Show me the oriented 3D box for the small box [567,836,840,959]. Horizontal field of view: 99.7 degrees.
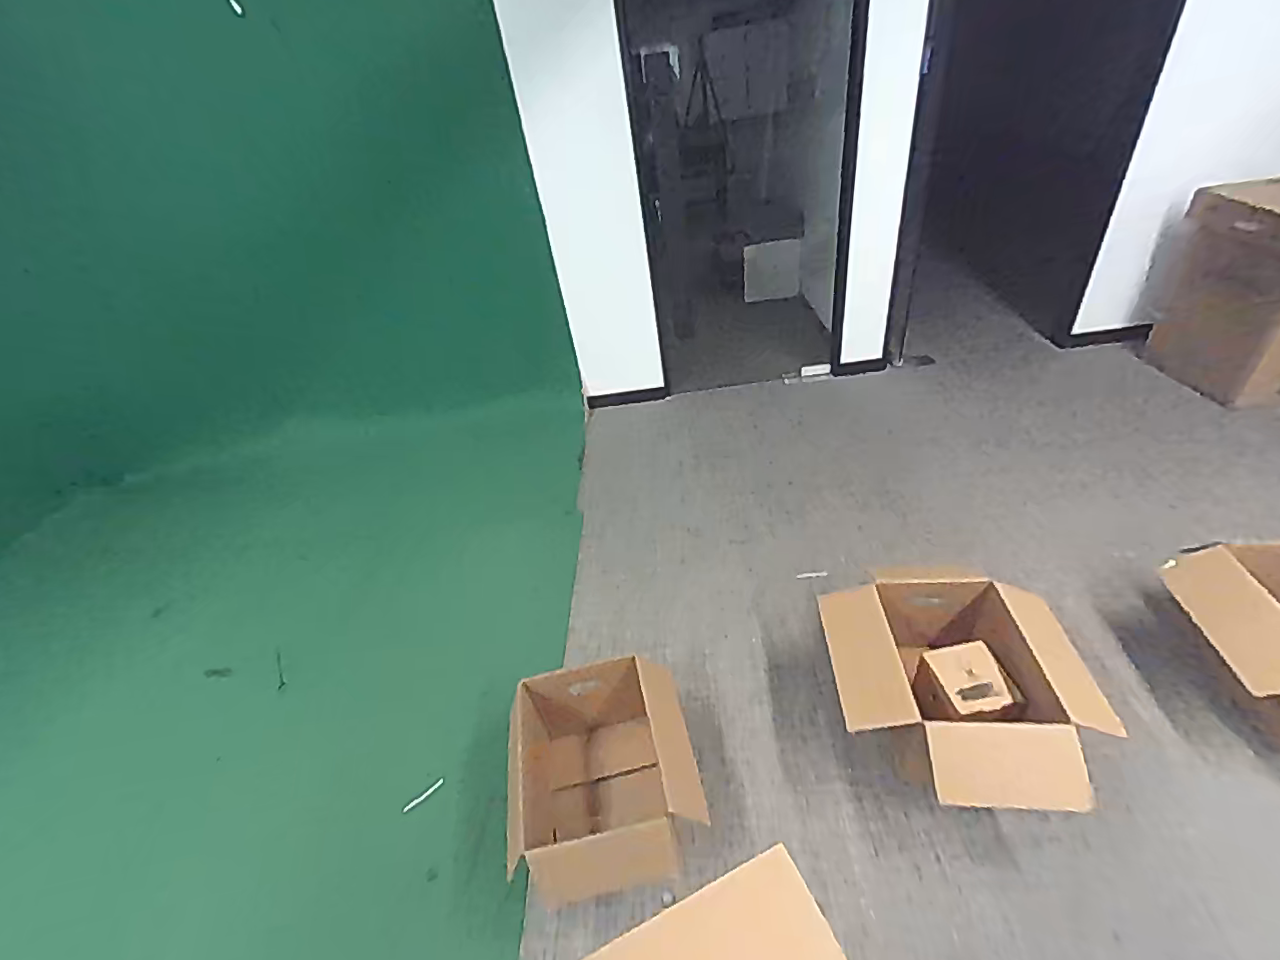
[{"bbox_3d":[0.050,0.390,0.370,0.168,0.176,0.179,-14,49,-21],"label":"small box"}]
